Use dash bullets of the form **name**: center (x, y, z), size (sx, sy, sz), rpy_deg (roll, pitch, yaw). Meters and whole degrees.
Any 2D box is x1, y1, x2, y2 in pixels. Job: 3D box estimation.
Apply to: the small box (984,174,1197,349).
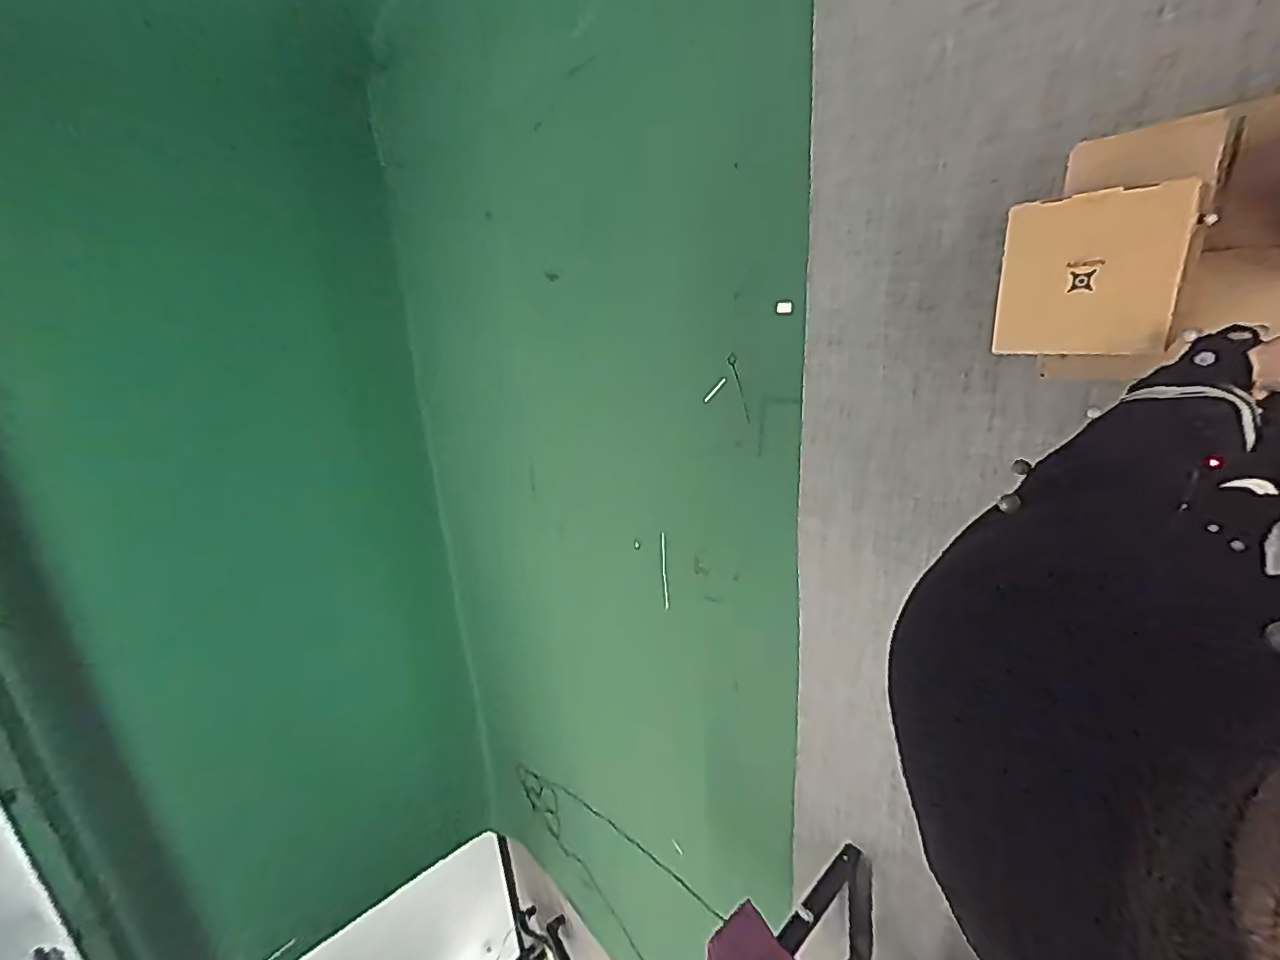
- **small box**: center (0.557, -0.263, 0.673), size (0.168, 0.176, 0.179), rpy_deg (15, 116, 45)
